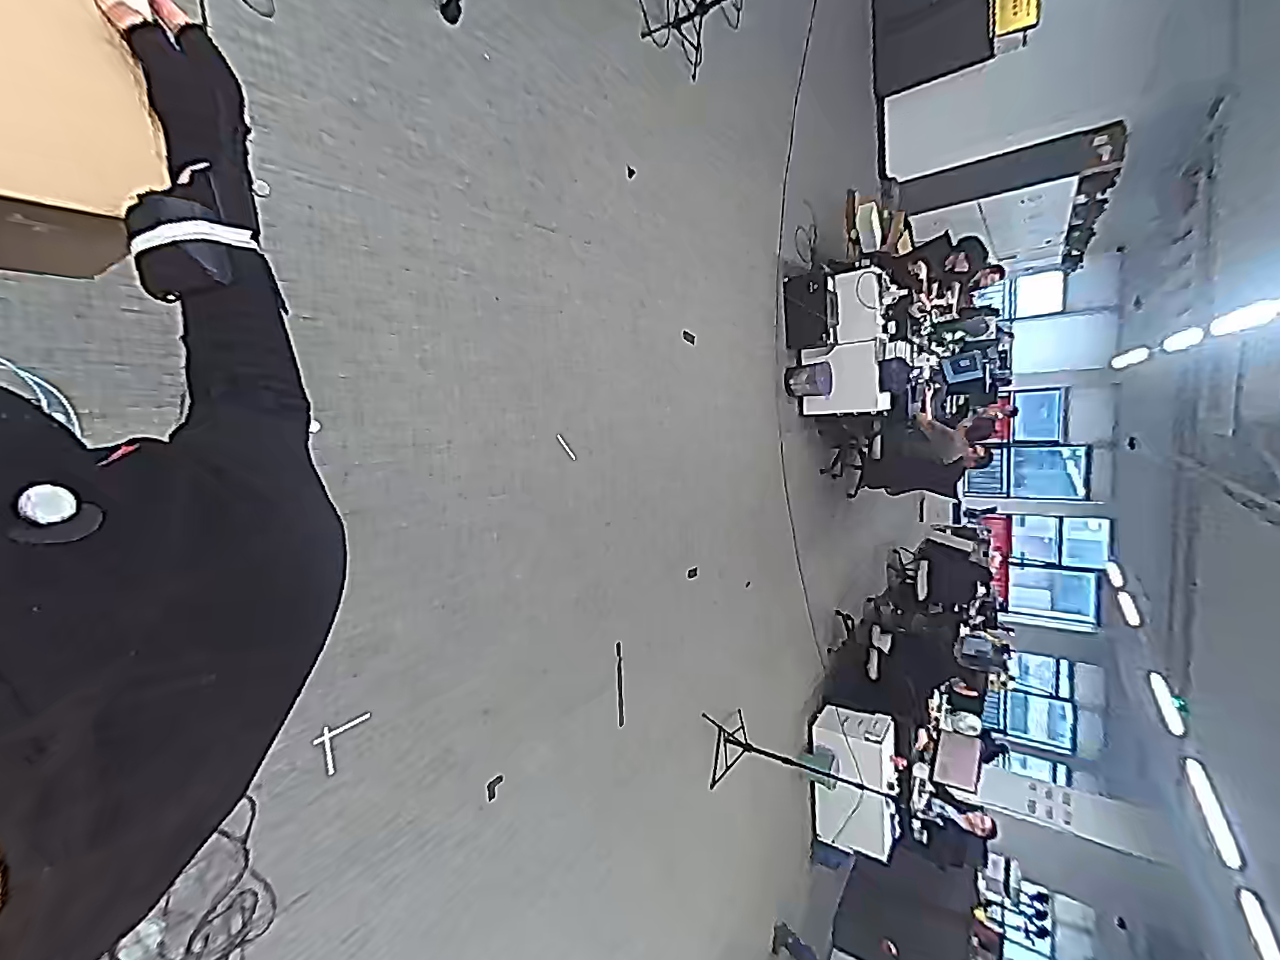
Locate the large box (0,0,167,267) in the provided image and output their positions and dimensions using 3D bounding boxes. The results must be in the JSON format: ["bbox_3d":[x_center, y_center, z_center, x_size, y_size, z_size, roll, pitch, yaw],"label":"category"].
[{"bbox_3d":[-0.614,-0.344,0.334,0.408,0.320,0.320,-12,106,-54],"label":"large box"}]
